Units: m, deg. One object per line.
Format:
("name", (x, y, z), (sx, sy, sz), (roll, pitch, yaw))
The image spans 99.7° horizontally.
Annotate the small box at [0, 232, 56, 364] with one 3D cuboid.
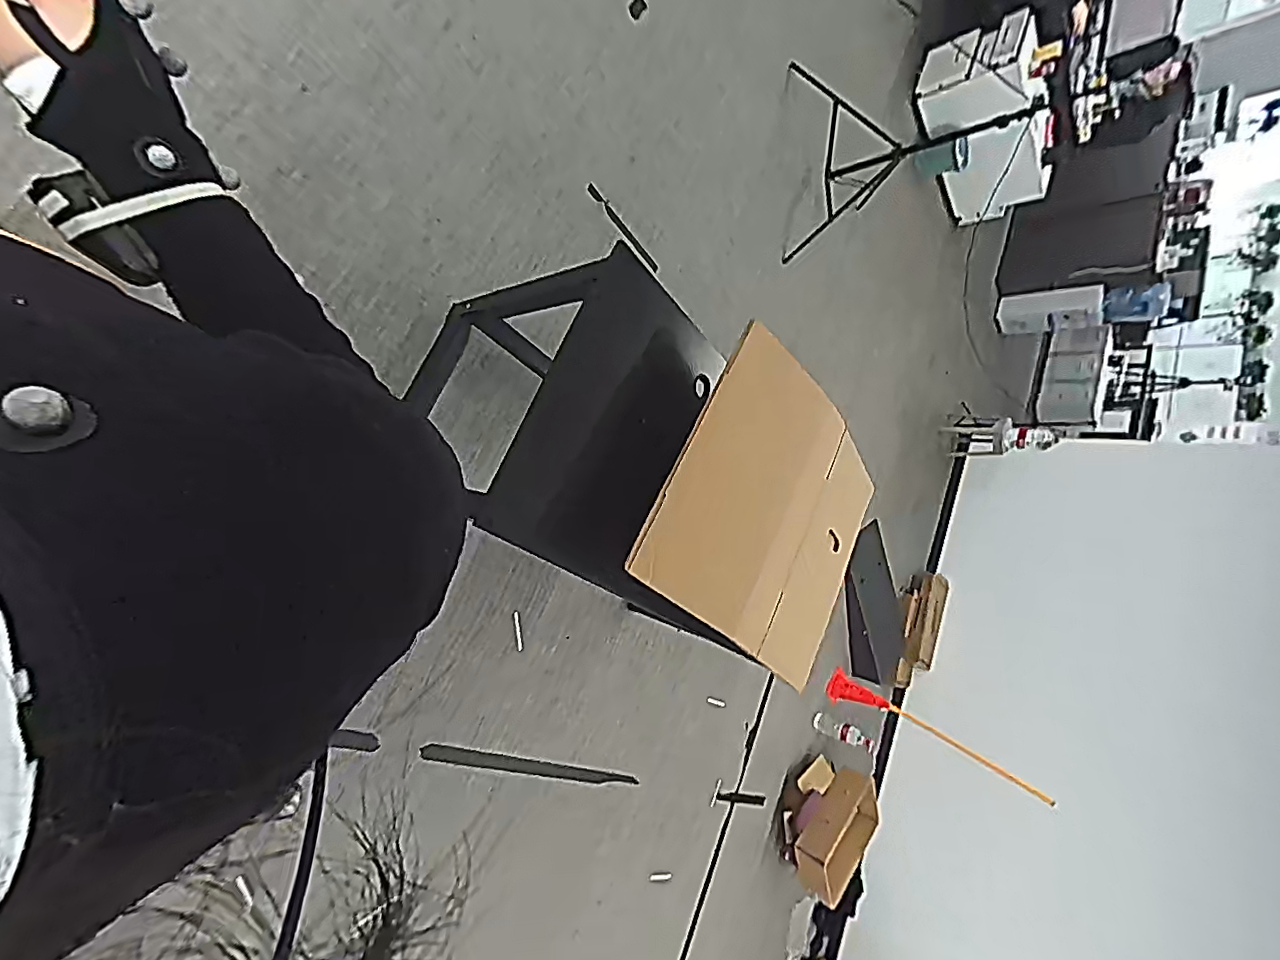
("small box", (-1.008, -0.286, 0.795), (0.168, 0.176, 0.179), (26, 75, -44))
